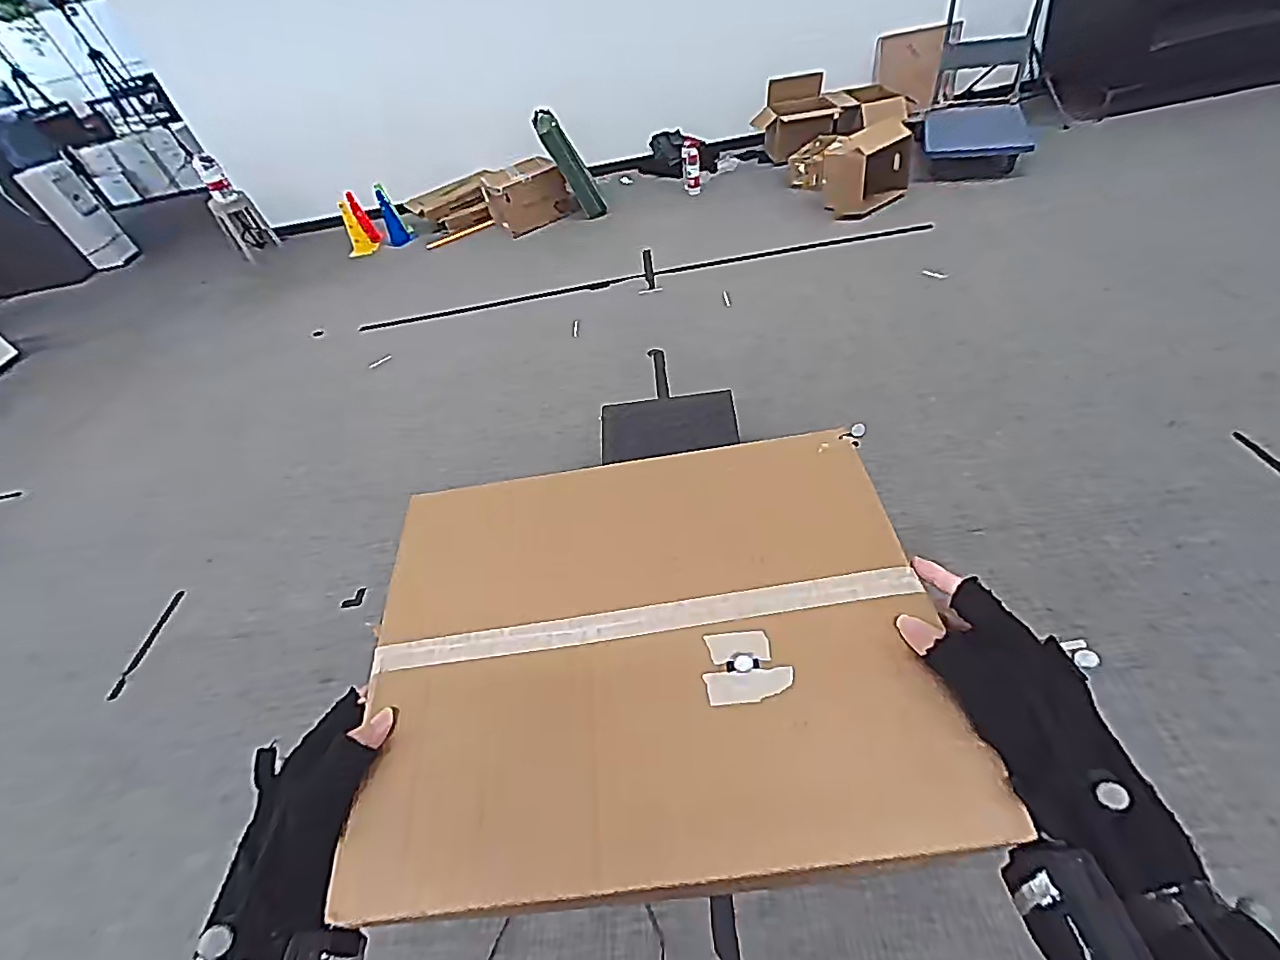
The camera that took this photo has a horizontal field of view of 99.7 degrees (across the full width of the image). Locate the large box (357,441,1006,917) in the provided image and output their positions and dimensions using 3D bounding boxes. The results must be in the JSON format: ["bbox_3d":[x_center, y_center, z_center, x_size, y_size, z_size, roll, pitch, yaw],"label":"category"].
[{"bbox_3d":[0.023,0.205,0.529,0.408,0.320,0.320,-9,52,2],"label":"large box"}]
